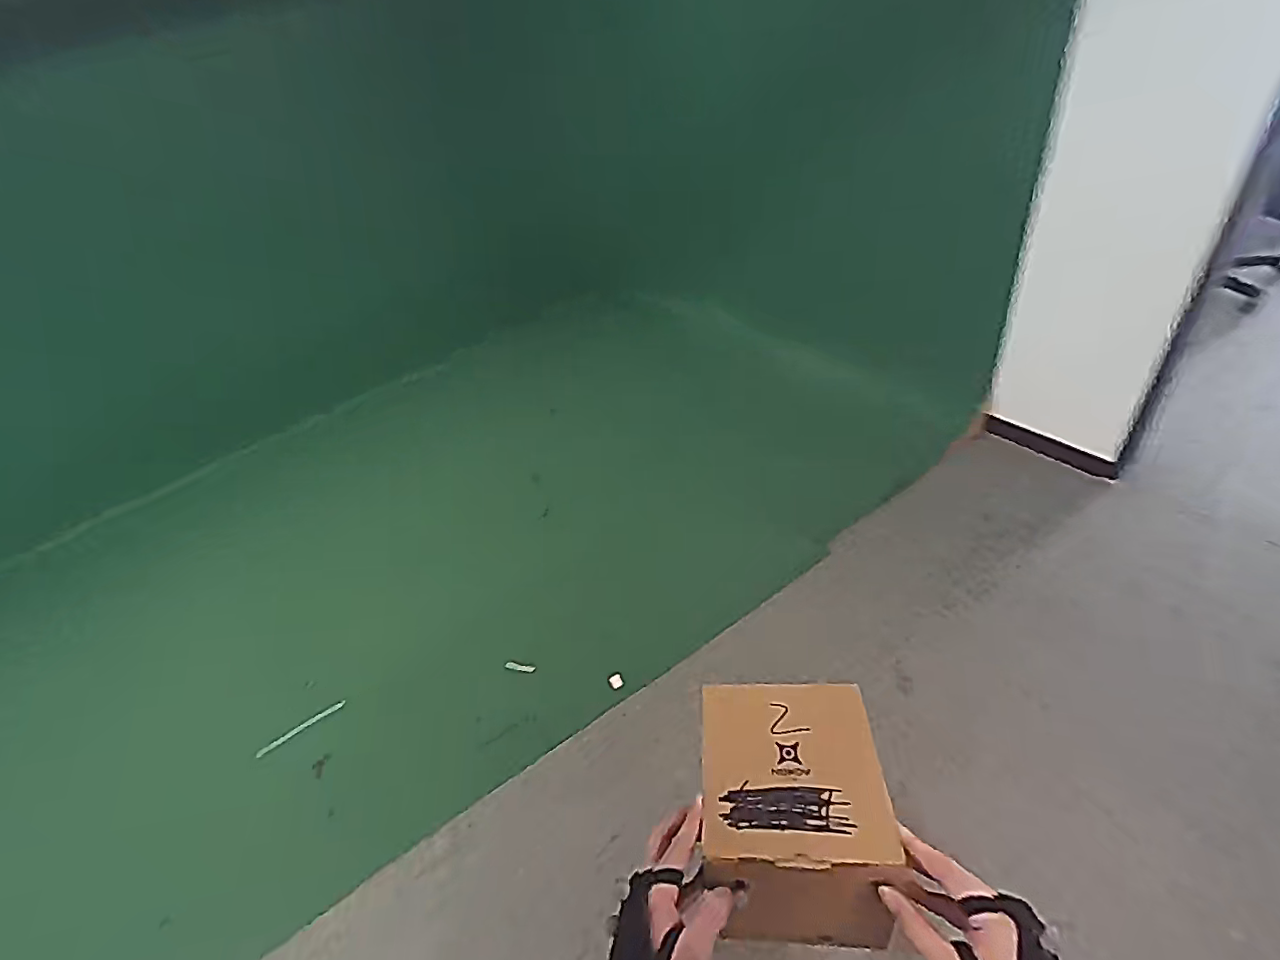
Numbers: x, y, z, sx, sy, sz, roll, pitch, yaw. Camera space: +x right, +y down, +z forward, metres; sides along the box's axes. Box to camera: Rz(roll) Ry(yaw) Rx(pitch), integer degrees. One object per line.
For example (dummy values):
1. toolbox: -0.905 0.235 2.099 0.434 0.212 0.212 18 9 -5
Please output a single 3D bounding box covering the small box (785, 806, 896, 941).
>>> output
1. small box: 0.454 0.907 1.244 0.168 0.176 0.179 -31 43 -16
